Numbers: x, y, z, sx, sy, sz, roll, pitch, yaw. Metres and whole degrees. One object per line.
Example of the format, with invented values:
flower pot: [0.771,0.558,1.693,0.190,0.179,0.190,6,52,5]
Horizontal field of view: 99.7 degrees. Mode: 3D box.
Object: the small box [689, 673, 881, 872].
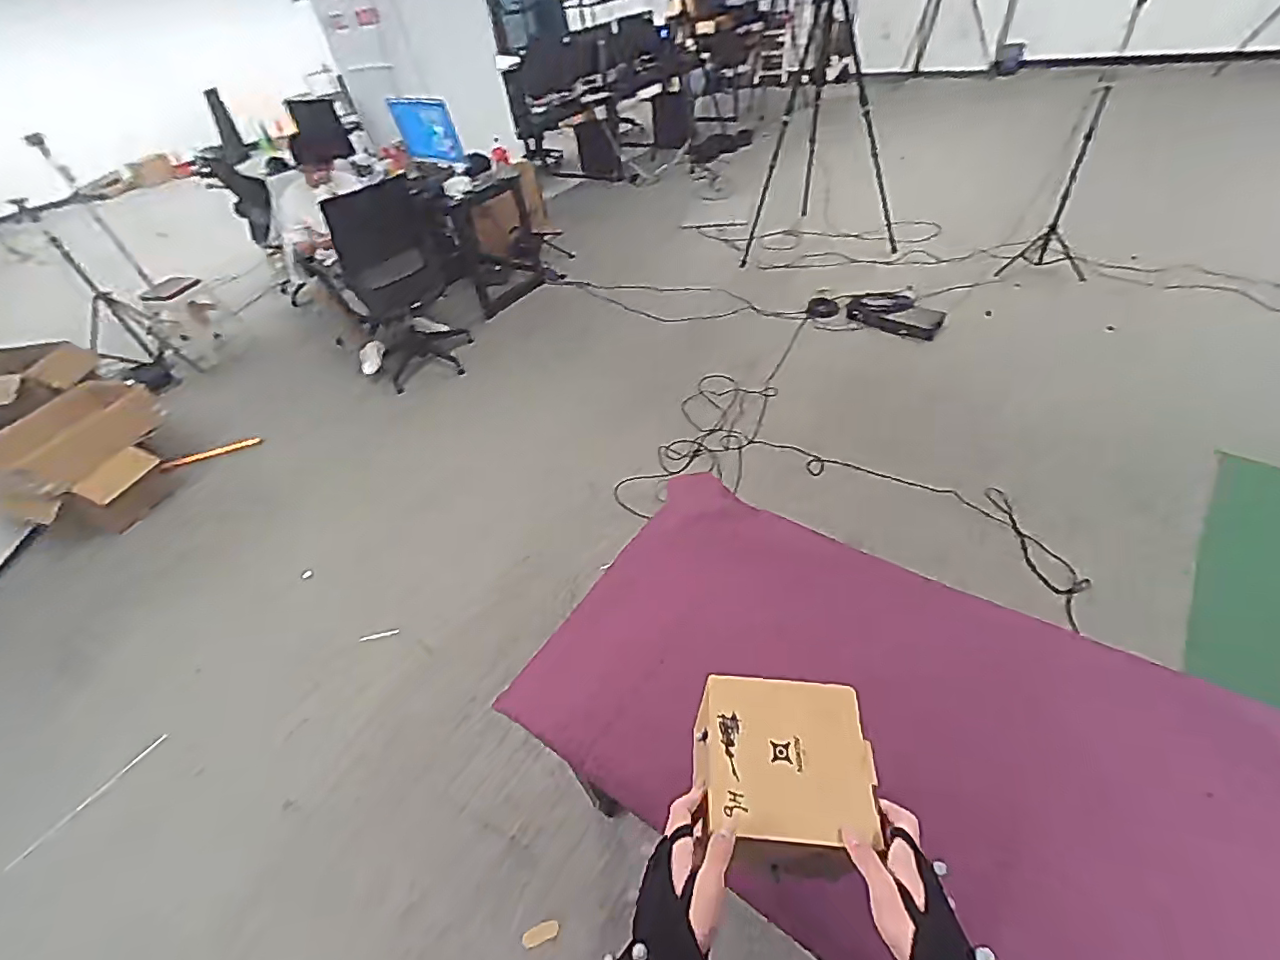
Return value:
small box: [0.157,0.352,0.647,0.179,0.176,0.168,5,46,2]
